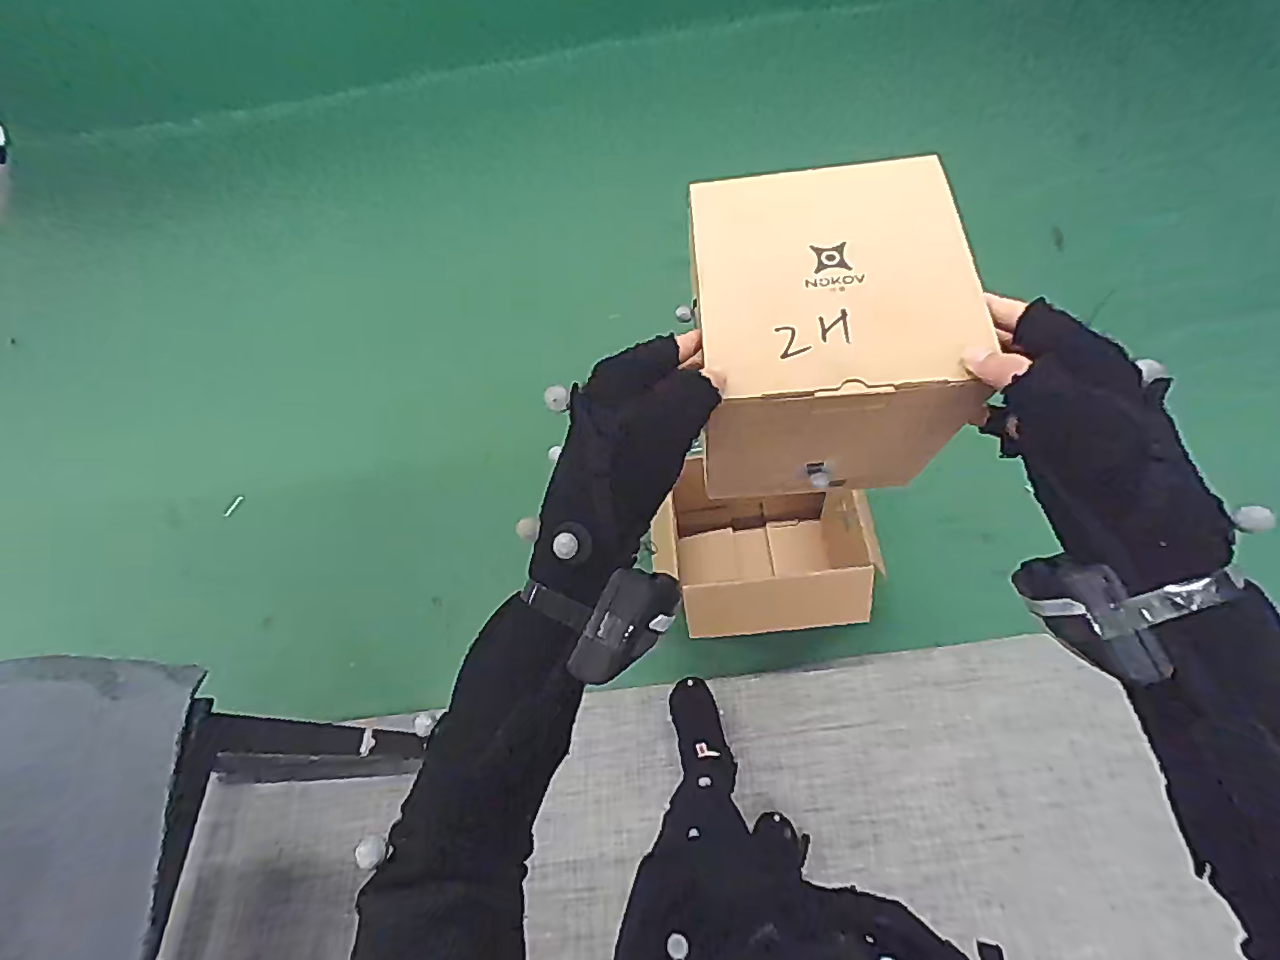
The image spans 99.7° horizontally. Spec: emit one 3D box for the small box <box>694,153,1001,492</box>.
[{"bbox_3d":[0.126,-0.103,0.408,0.168,0.176,0.179,-4,69,6],"label":"small box"}]
